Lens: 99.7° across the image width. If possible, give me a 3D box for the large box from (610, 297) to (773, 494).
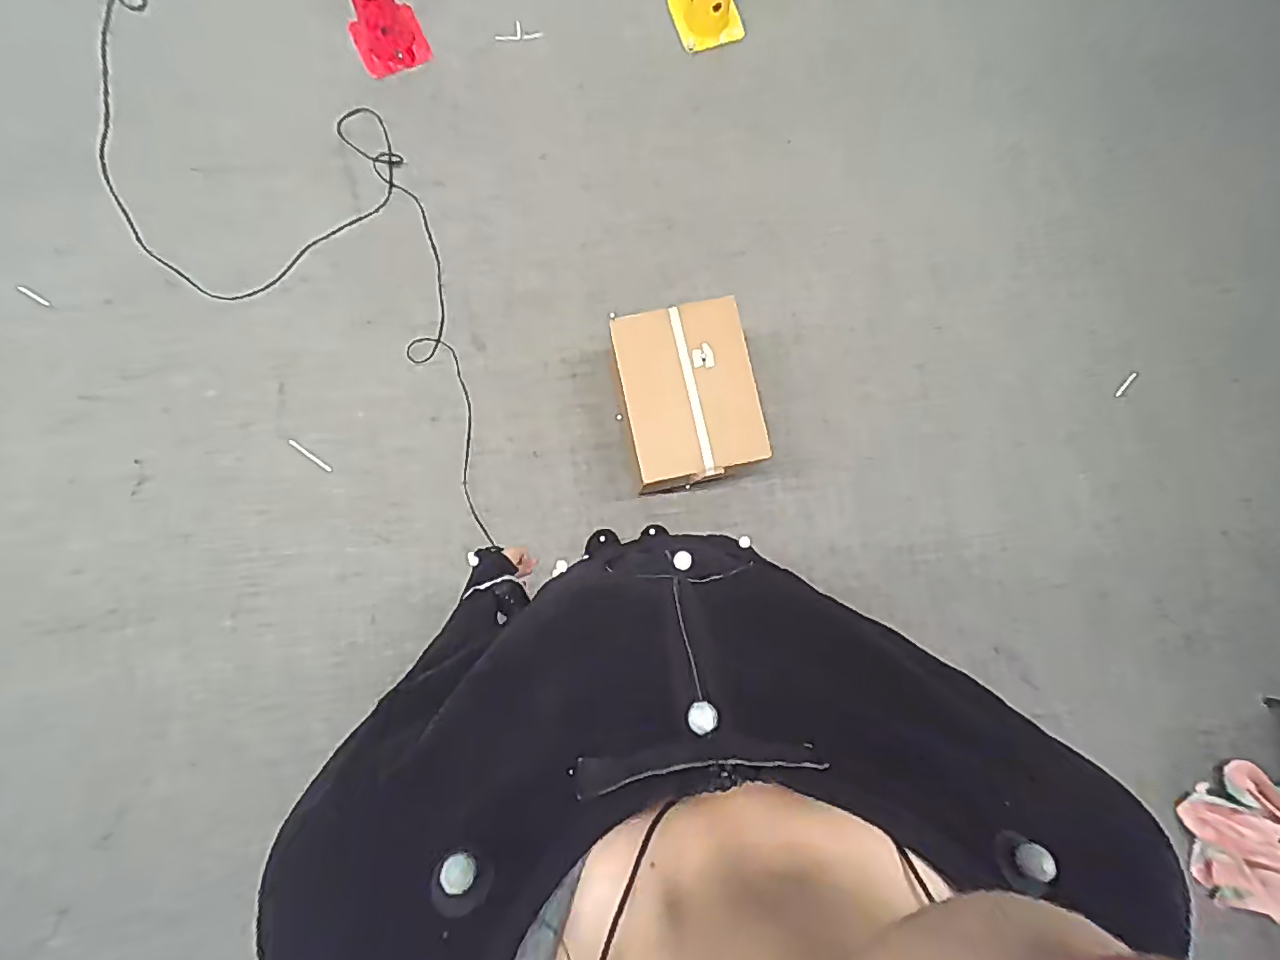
[{"bbox_3d":[0.117,-0.200,1.418,0.320,0.320,0.408,-12,83,-4],"label":"large box"}]
